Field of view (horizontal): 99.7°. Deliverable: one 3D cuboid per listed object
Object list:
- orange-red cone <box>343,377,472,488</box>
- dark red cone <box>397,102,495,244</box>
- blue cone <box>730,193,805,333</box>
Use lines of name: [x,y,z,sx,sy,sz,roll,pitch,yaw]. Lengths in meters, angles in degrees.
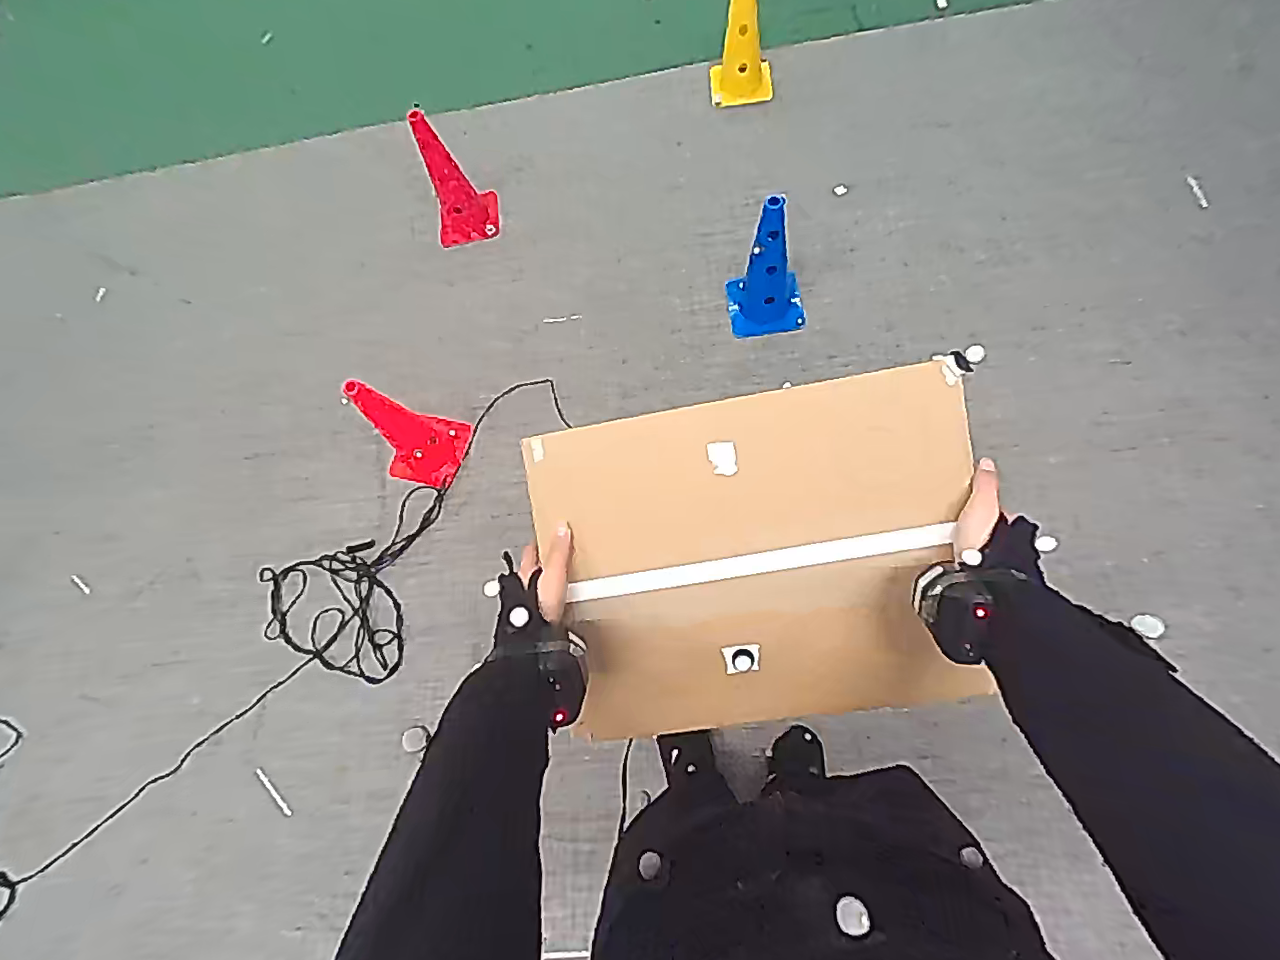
orange-red cone: [-0.613,-0.145,1.354,0.199,0.360,0.198,13,71,16]
dark red cone: [-0.601,-0.933,1.633,0.202,0.394,0.201,-13,65,5]
blue cone: [0.330,-0.556,1.368,0.192,0.380,0.193,-6,69,7]
